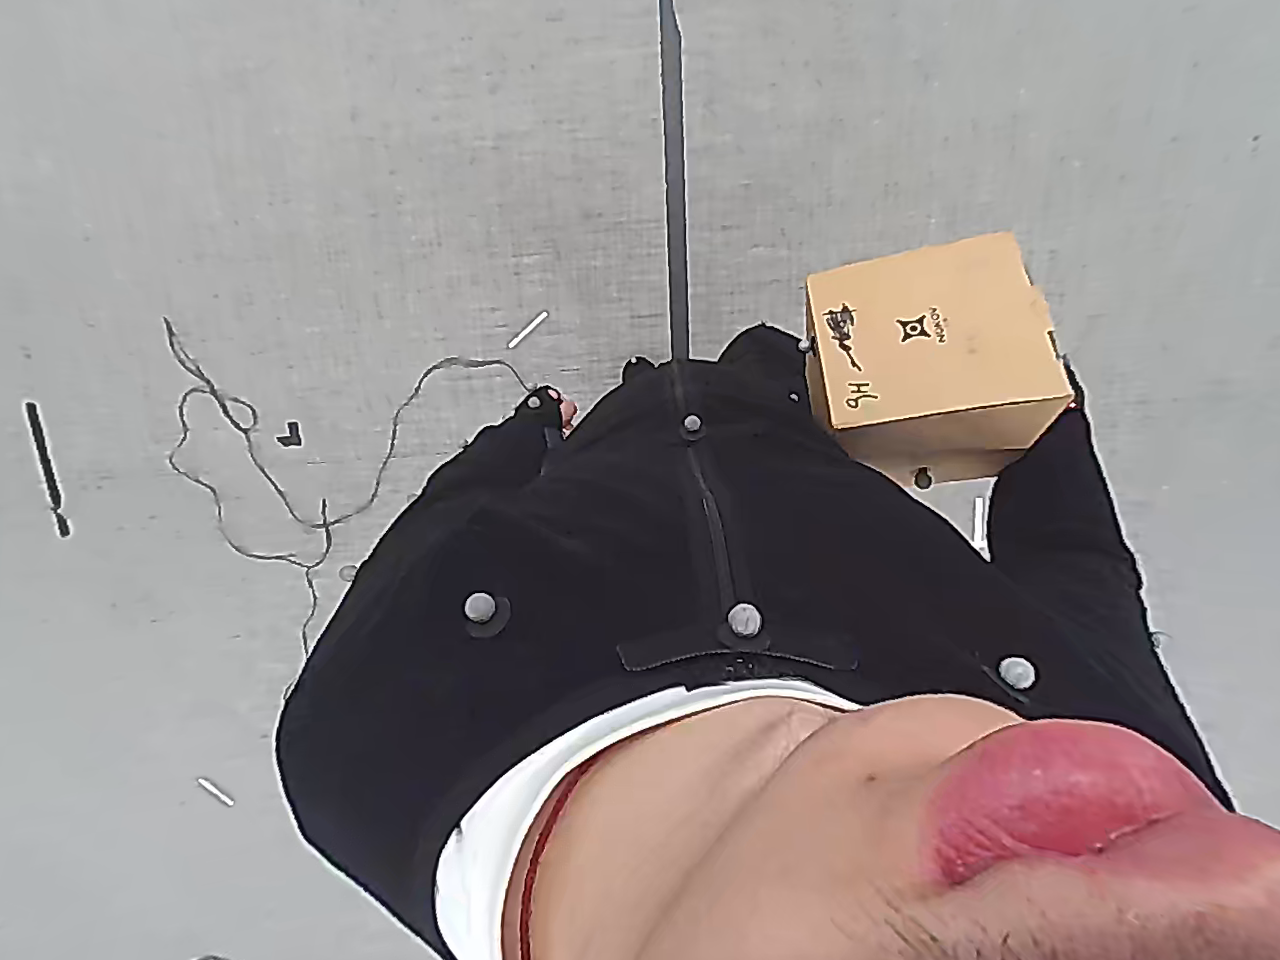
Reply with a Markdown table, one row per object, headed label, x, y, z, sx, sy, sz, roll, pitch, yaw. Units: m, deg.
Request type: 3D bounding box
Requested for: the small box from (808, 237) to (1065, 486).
| label | x | y | z | sx | sy | sz | roll | pitch | yaw |
| --- | --- | --- | --- | --- | --- | --- | --- | --- | --- |
| small box | 0.269 | -0.103 | 0.542 | 0.179 | 0.176 | 0.168 | -7 | 67 | 14 |
